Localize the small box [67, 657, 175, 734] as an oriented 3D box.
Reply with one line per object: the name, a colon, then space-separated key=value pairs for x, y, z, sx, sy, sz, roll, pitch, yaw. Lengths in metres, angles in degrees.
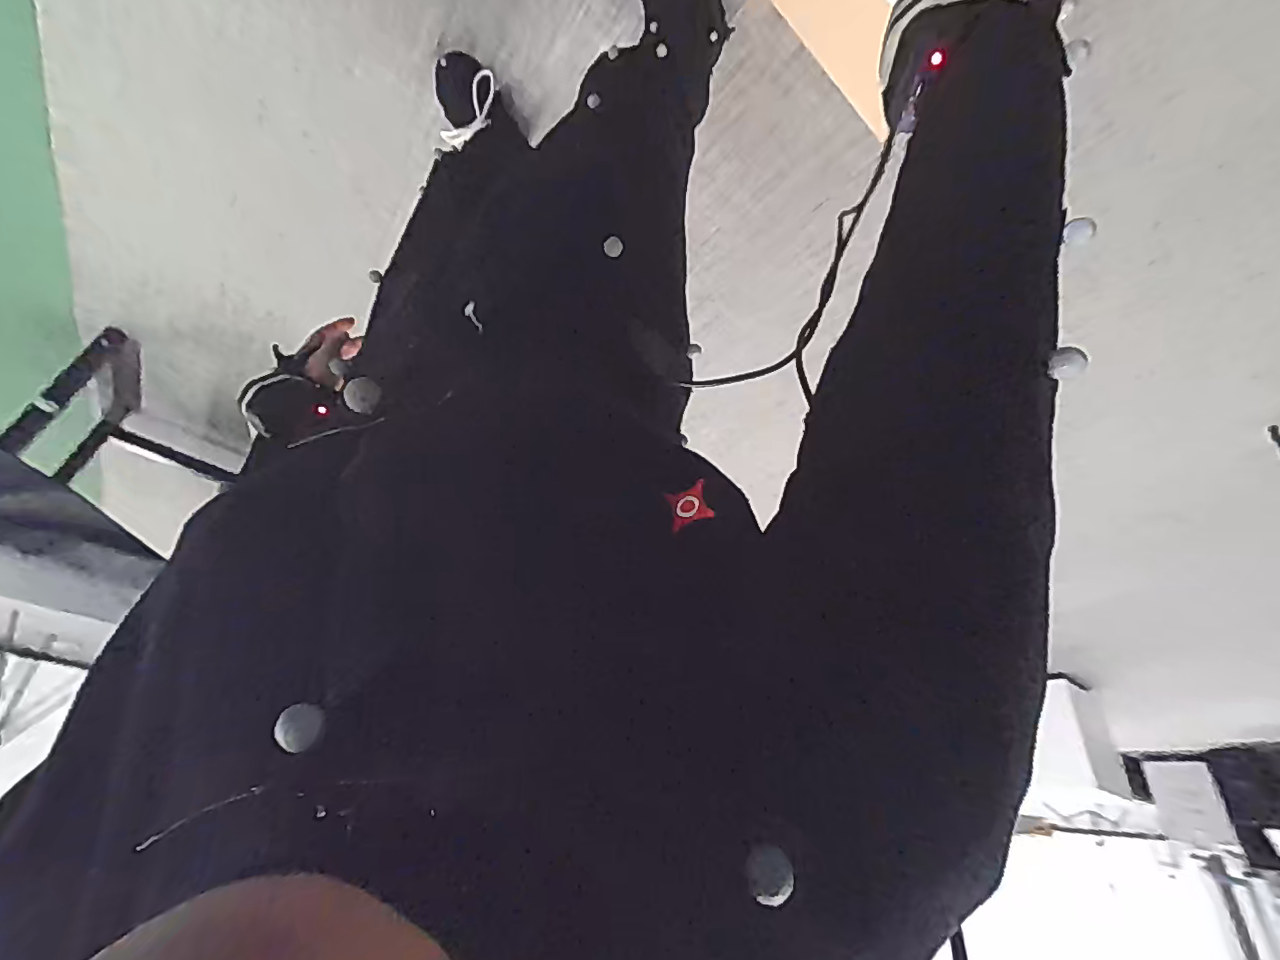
small box: x=-1.502 y=0.627 z=1.572 sx=0.179 sy=0.176 sz=0.168 roll=-23 pitch=134 yaw=40

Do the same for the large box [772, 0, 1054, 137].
large box: x=0.293 y=-0.724 z=0.619 sx=0.408 sy=0.320 sz=0.320 roll=28 pitch=142 yaw=-29
